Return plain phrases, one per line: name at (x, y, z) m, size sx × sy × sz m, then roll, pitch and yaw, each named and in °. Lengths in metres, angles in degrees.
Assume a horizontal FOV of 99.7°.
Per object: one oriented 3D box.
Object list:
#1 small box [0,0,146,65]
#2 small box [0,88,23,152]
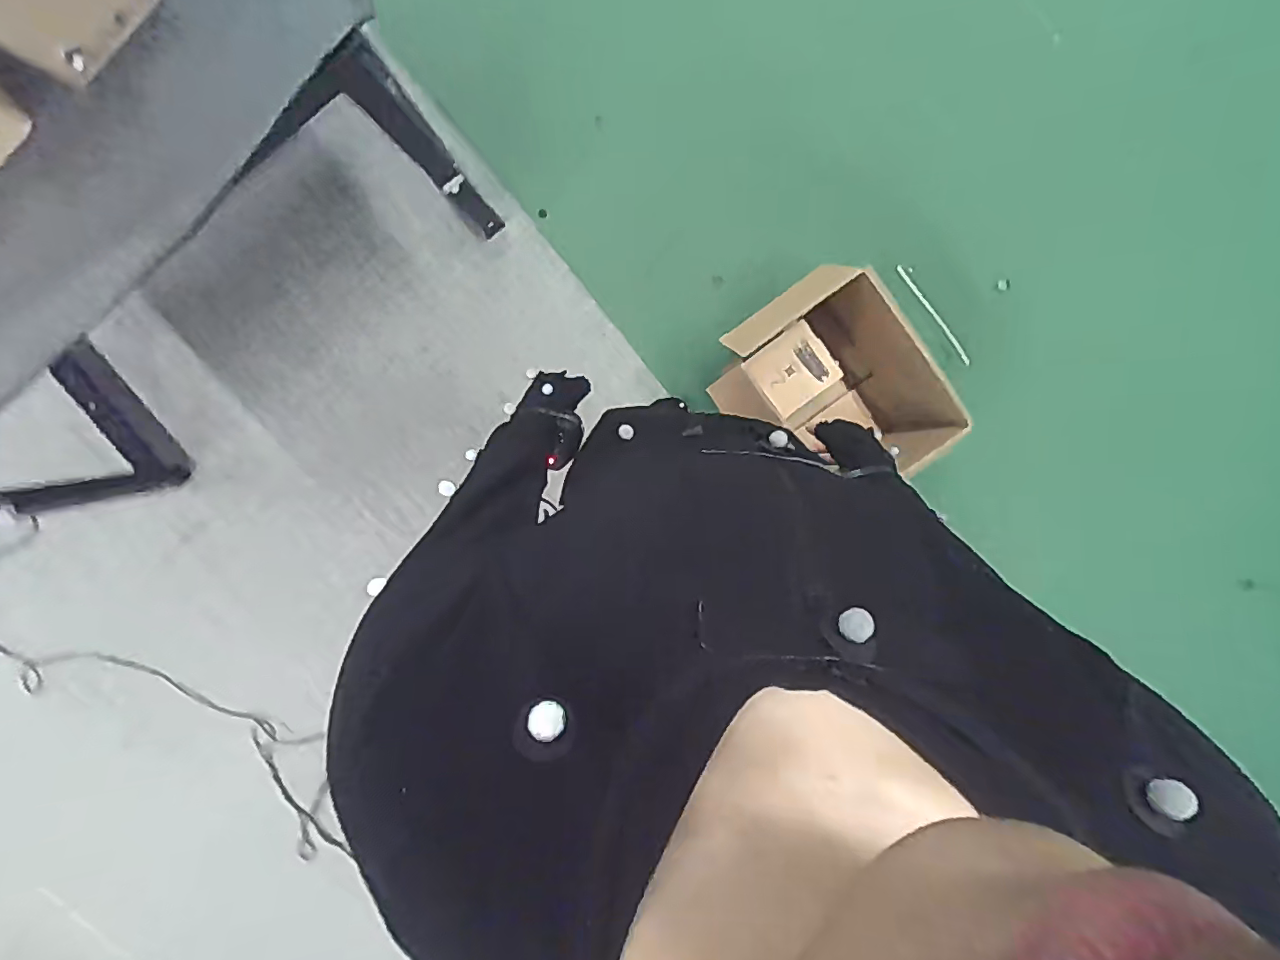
small box at (-0.701, -0.602, 0.582) m, size 0.168 × 0.176 × 0.179 m, roll -40°, pitch 95°, yaw 7°
small box at (-0.891, -0.458, 0.611) m, size 0.168 × 0.176 × 0.179 m, roll -40°, pitch 95°, yaw 7°
